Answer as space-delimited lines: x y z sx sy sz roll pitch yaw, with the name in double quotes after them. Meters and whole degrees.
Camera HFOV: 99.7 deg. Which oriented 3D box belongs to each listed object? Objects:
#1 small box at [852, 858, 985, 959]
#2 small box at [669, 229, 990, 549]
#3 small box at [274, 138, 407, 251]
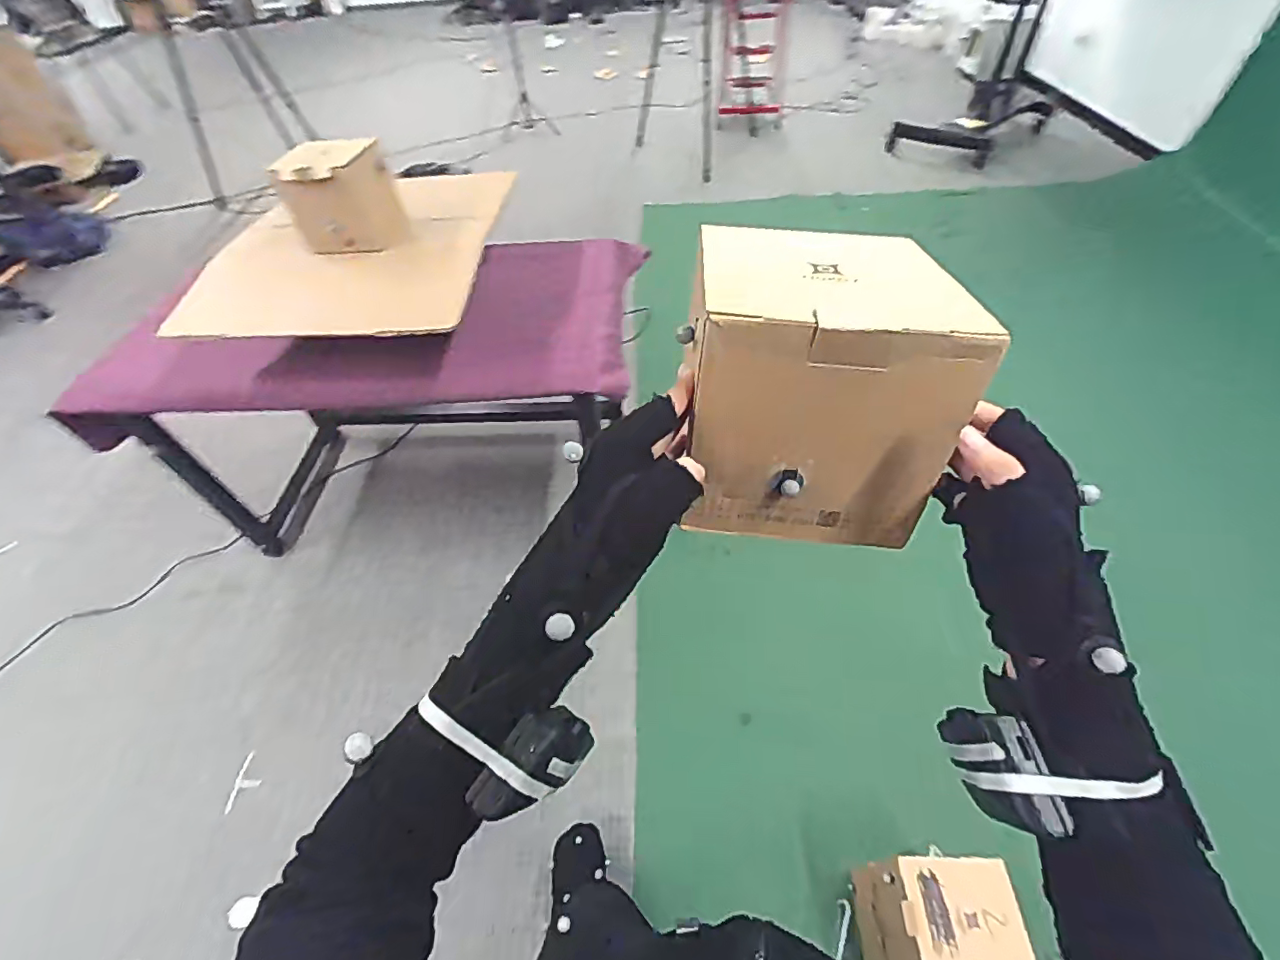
0.526 0.848 1.051 0.179 0.176 0.168 0 51 4 "small box"
0.110 -0.072 0.409 0.168 0.176 0.179 4 41 1 "small box"
-0.635 -0.619 1.176 0.168 0.176 0.179 0 50 5 "small box"
